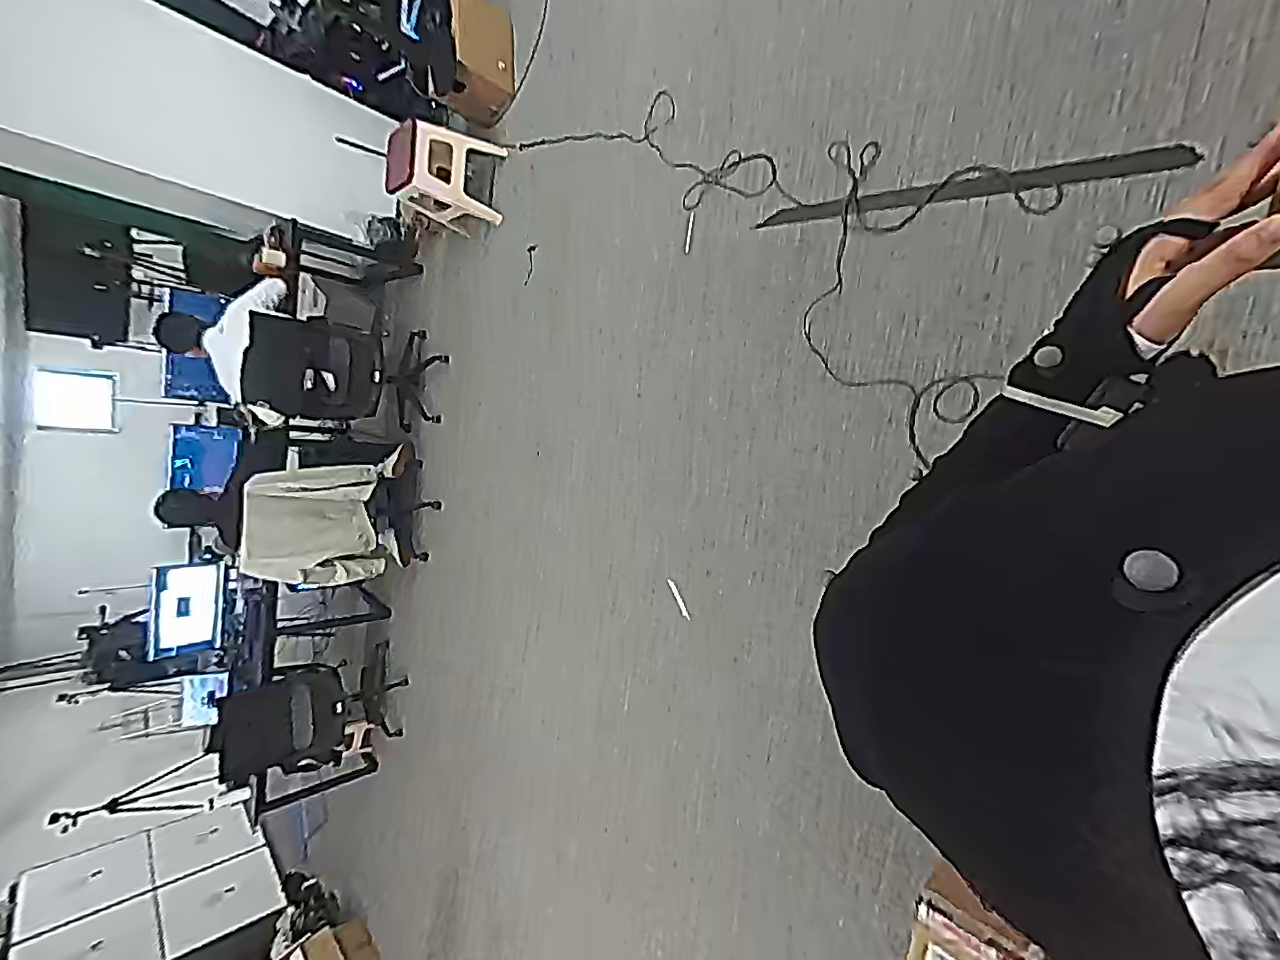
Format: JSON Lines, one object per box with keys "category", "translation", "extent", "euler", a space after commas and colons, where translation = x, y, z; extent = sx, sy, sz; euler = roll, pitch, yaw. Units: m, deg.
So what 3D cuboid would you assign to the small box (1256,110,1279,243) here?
{"category": "small box", "translation": [0.463, -0.229, 0.281], "extent": [0.168, 0.176, 0.179], "euler": [12, 107, 44]}
